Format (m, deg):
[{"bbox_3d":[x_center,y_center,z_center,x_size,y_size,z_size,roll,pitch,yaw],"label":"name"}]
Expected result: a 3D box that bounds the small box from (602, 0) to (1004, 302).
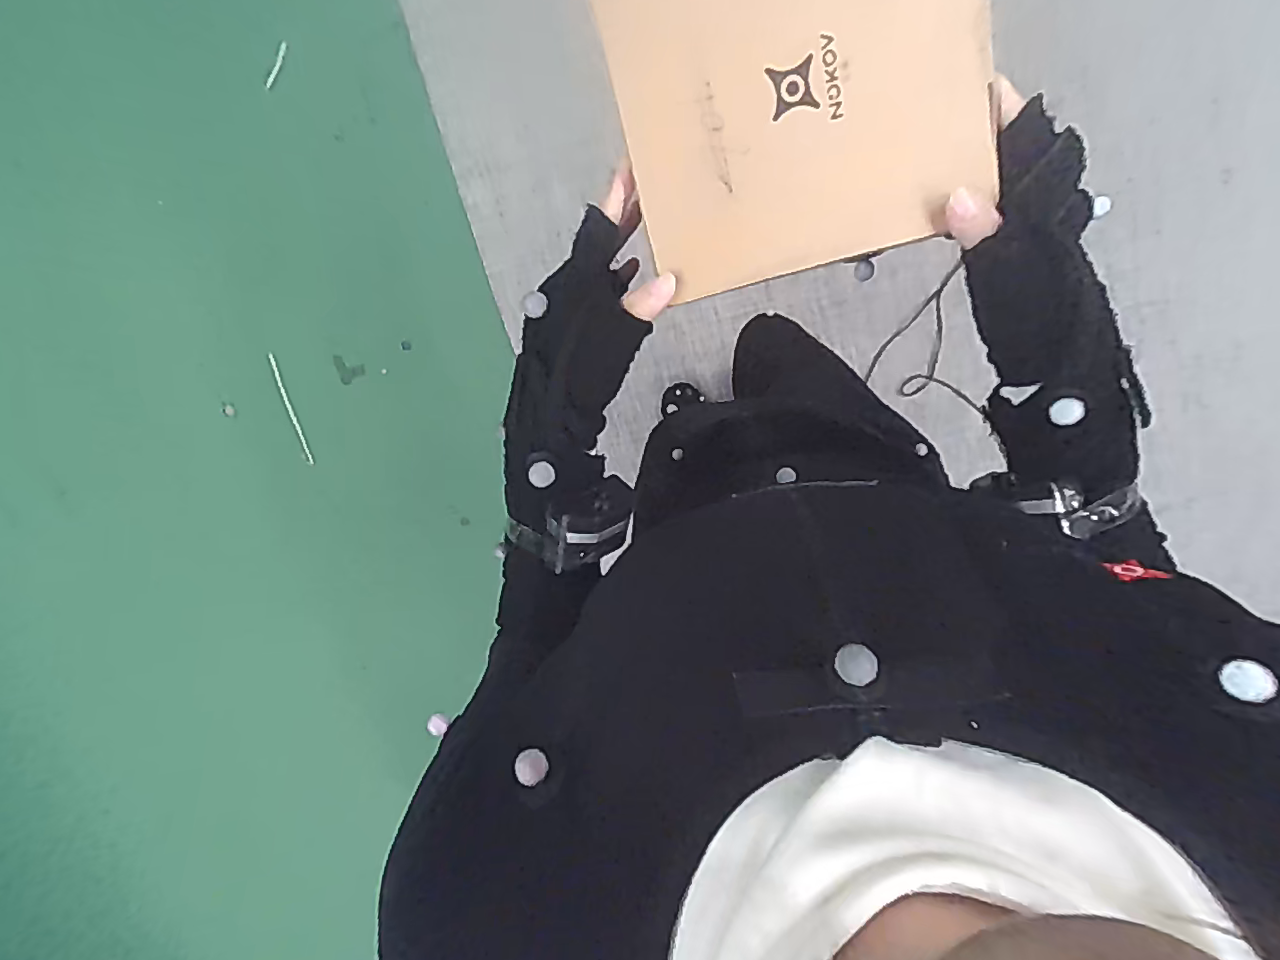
[{"bbox_3d":[0.085,-0.217,0.338,0.179,0.176,0.168,-13,105,8],"label":"small box"}]
